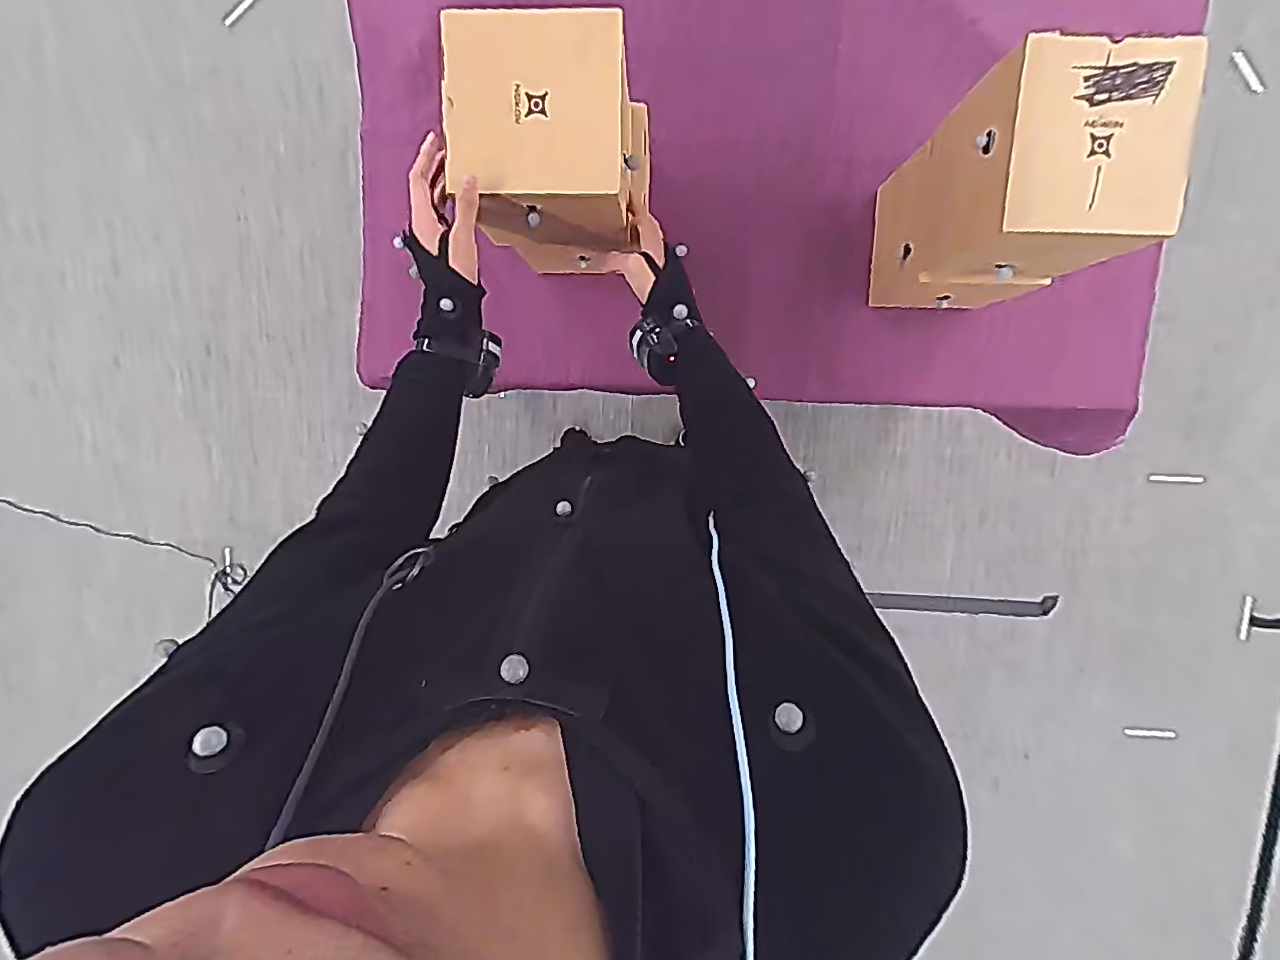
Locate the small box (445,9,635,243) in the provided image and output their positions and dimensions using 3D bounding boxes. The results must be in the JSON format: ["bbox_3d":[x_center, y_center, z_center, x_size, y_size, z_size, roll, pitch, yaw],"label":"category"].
[{"bbox_3d":[-0.097,-0.373,0.600,0.179,0.176,0.168,2,98,3],"label":"small box"}]

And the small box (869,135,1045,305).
[{"bbox_3d":[0.436,-0.346,0.753,0.168,0.176,0.179,2,98,1],"label":"small box"}]

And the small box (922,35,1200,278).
[{"bbox_3d":[0.433,-0.333,0.589,0.168,0.176,0.179,3,98,2],"label":"small box"}]
